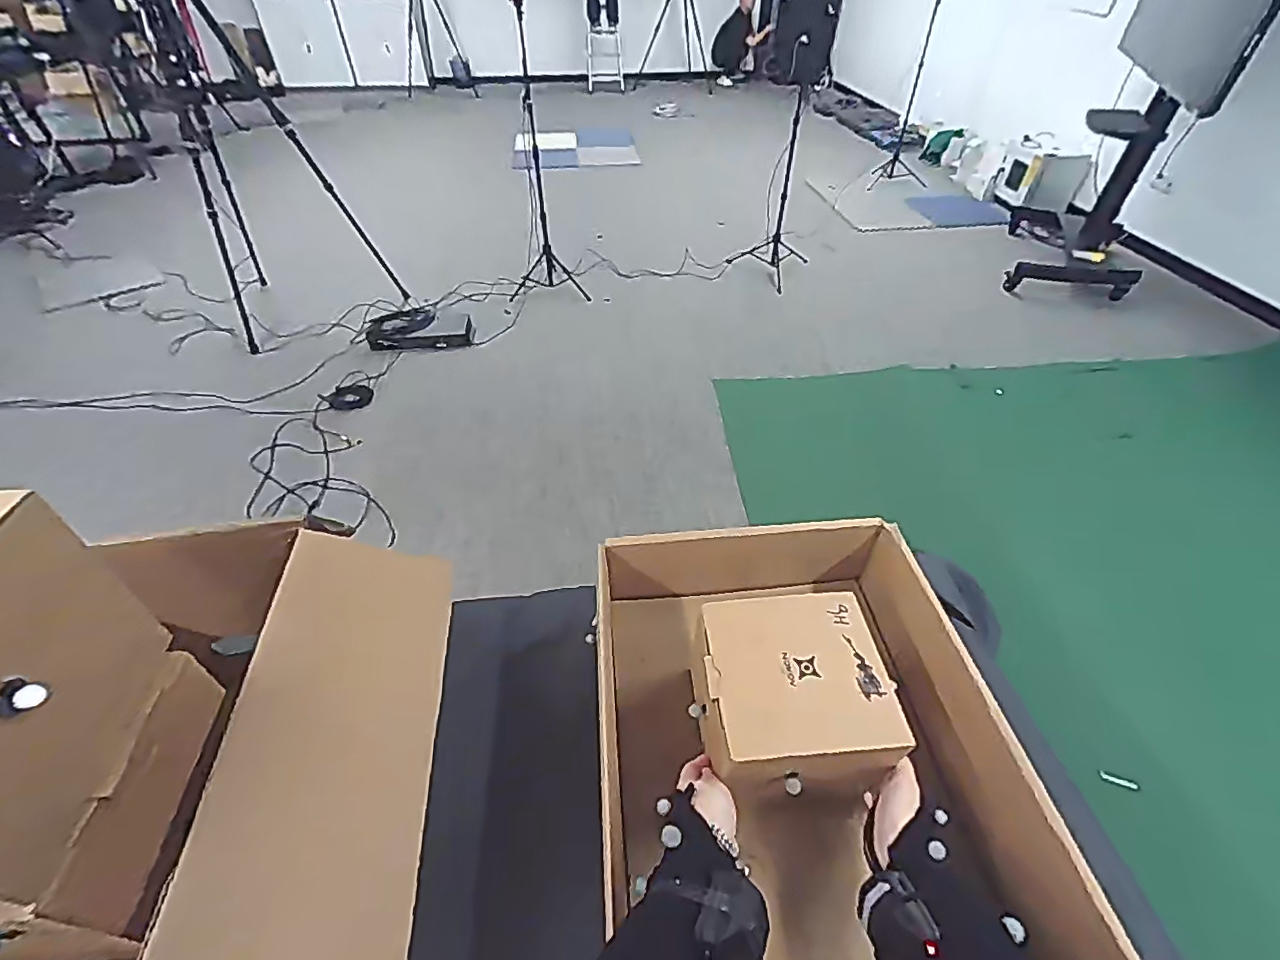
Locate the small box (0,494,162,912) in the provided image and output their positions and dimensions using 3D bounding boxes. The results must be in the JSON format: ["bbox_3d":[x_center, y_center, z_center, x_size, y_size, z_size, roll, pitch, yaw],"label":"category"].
[{"bbox_3d":[-0.427,0.128,0.303,0.168,0.176,0.179,-2,44,-9],"label":"small box"}]
